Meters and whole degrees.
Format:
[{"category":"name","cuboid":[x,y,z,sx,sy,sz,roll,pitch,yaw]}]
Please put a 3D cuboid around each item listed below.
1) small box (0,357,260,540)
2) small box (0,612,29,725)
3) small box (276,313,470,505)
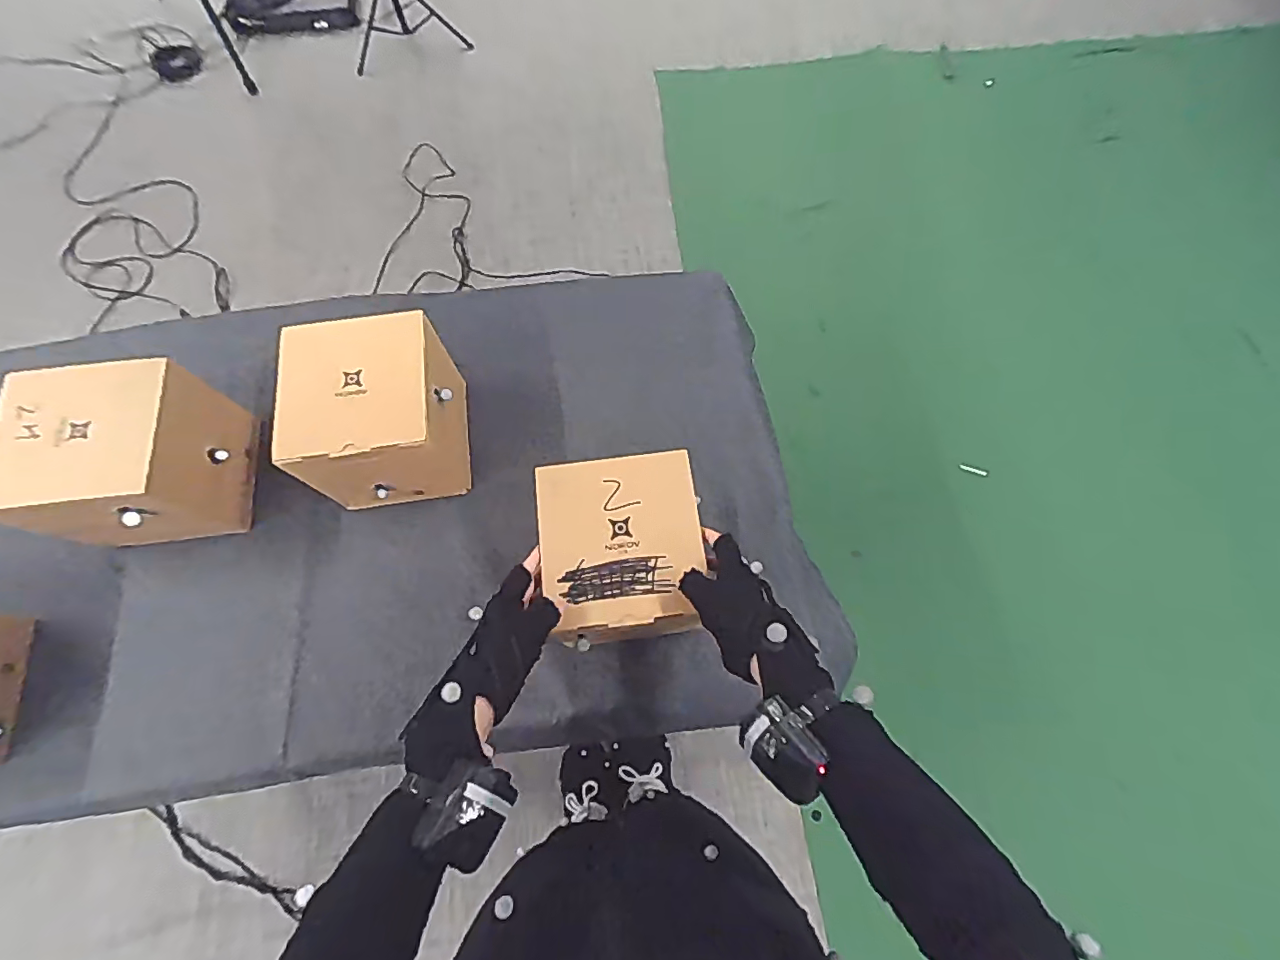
[{"category":"small box","cuboid":[-0.605,-0.030,0.657,0.179,0.176,0.168,-6,71,-3]},{"category":"small box","cuboid":[-0.819,0.224,0.561,0.179,0.176,0.168,-8,70,-4]},{"category":"small box","cuboid":[-0.321,-0.083,0.685,0.168,0.176,0.179,-8,71,-4]}]
